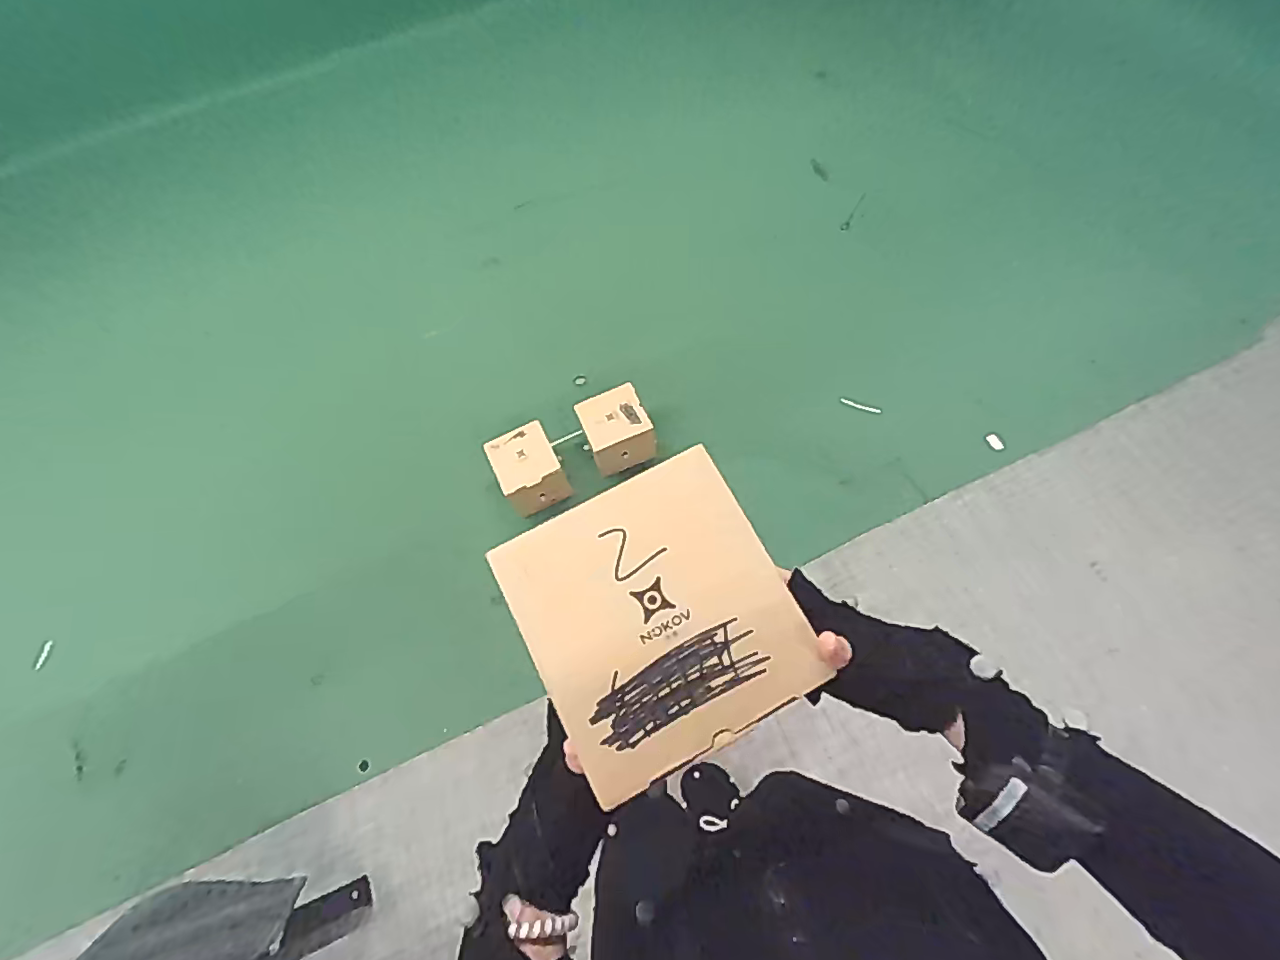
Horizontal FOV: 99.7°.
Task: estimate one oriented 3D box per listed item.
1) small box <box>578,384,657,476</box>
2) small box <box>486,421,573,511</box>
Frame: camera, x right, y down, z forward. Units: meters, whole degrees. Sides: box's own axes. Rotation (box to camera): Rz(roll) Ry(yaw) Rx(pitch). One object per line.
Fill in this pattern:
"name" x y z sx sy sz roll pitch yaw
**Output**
"small box" -0.059 -0.138 1.537 0.179 0.176 0.168 -23 66 -5
"small box" -0.301 -0.029 1.509 0.168 0.176 0.179 -26 67 -7
